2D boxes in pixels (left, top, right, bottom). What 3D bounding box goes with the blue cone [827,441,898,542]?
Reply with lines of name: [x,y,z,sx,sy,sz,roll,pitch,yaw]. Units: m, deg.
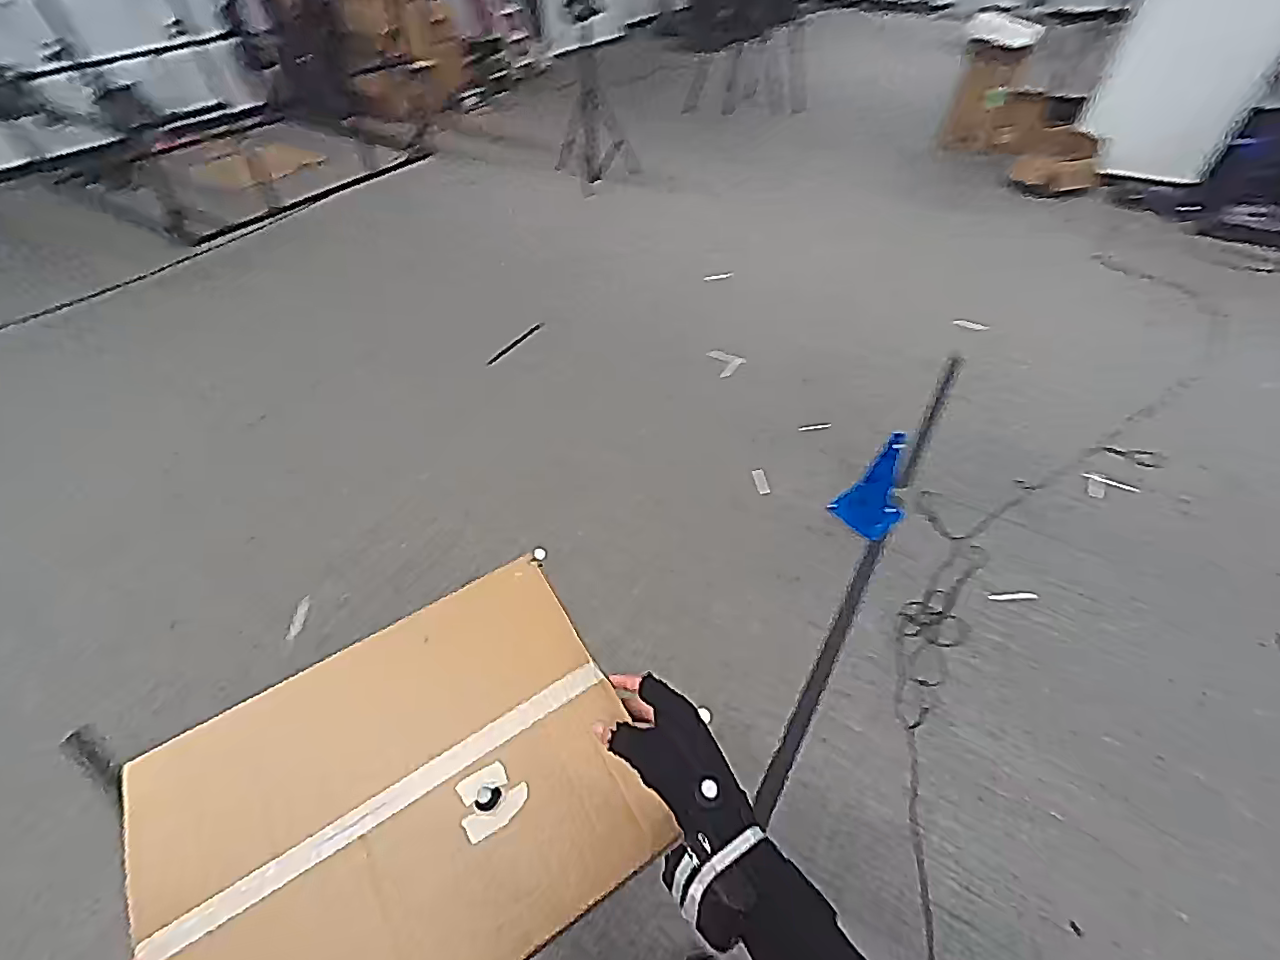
blue cone: [0.786,0.013,1.795,0.192,0.380,0.193,-29,52,-23]
